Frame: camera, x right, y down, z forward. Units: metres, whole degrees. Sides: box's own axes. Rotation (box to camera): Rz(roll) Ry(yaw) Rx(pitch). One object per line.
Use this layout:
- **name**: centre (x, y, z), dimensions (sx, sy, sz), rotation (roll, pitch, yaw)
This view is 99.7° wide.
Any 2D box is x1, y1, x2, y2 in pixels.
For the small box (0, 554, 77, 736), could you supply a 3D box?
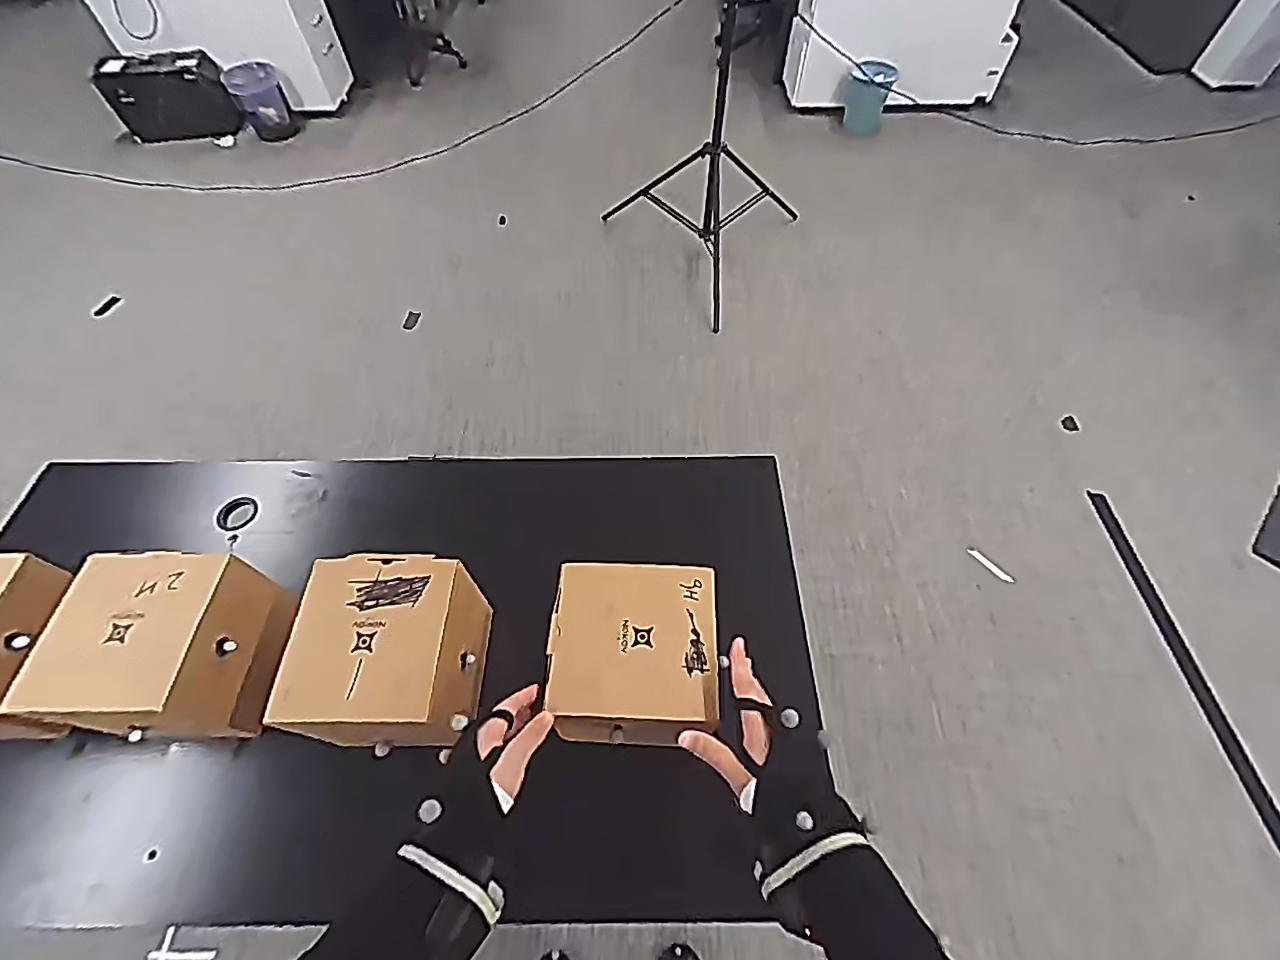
- **small box**: centre (-0.791, 0.204, 0.652), dimensions (0.168, 0.176, 0.179), rotation (0, 56, -1)

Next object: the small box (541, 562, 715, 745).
- **small box**: centre (-0.006, 0.210, 0.640), dimensions (0.179, 0.176, 0.168), rotation (2, 56, 3)

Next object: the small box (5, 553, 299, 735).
- **small box**: centre (-0.552, 0.202, 0.649), dimensions (0.168, 0.176, 0.179), rotation (0, 56, 0)

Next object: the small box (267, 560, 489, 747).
- **small box**: centre (-0.286, 0.209, 0.644), dimensions (0.168, 0.176, 0.179), rotation (0, 57, 0)
